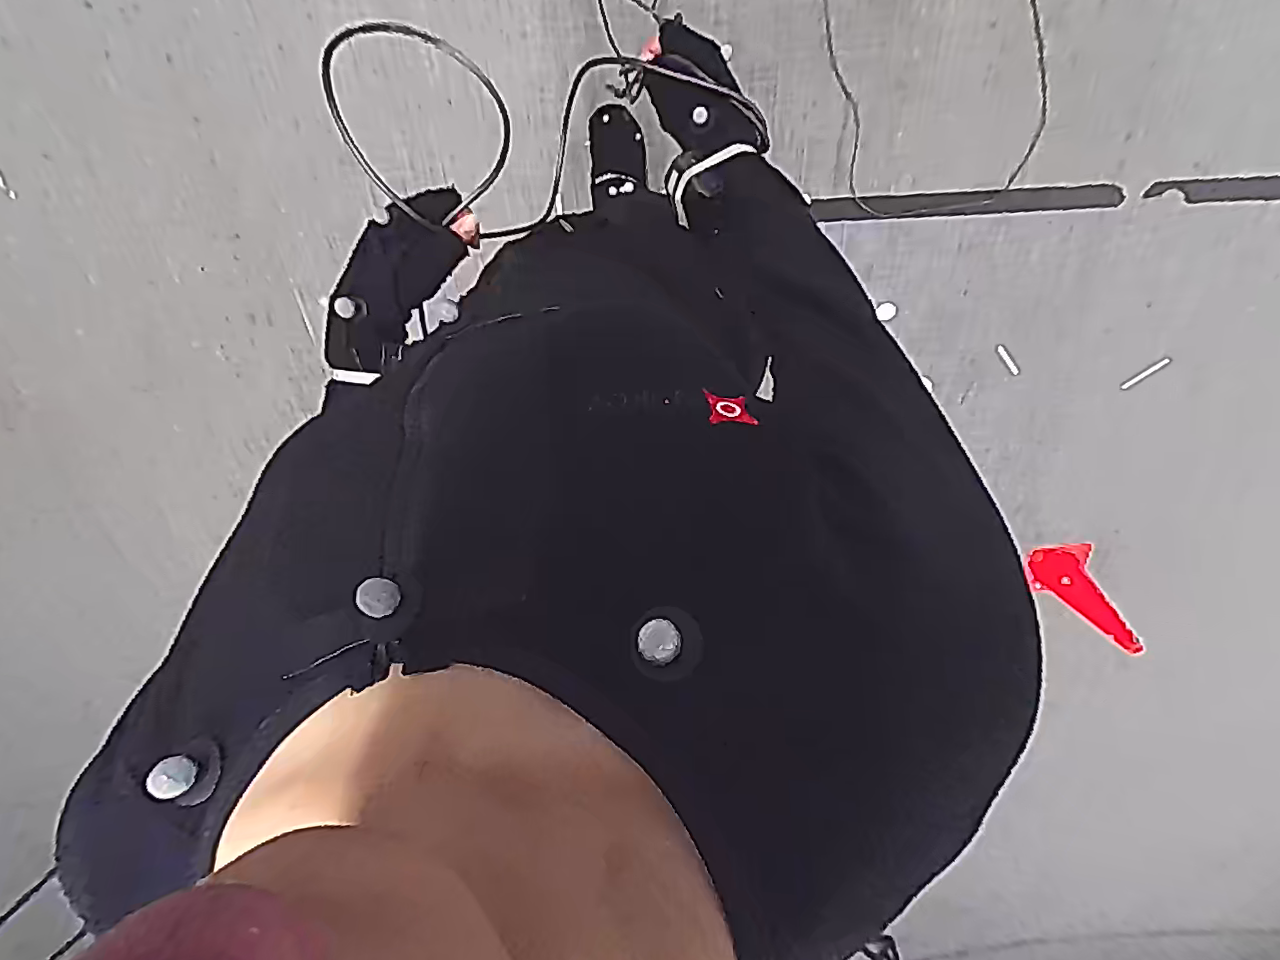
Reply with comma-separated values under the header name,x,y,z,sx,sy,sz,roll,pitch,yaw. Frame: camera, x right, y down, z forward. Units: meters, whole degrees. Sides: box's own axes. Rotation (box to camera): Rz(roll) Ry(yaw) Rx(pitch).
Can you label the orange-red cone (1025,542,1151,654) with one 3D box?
name,x,y,z,sx,sy,sz,roll,pitch,yaw
orange-red cone,1.423,0.384,1.676,0.199,0.360,0.198,-8,123,2
